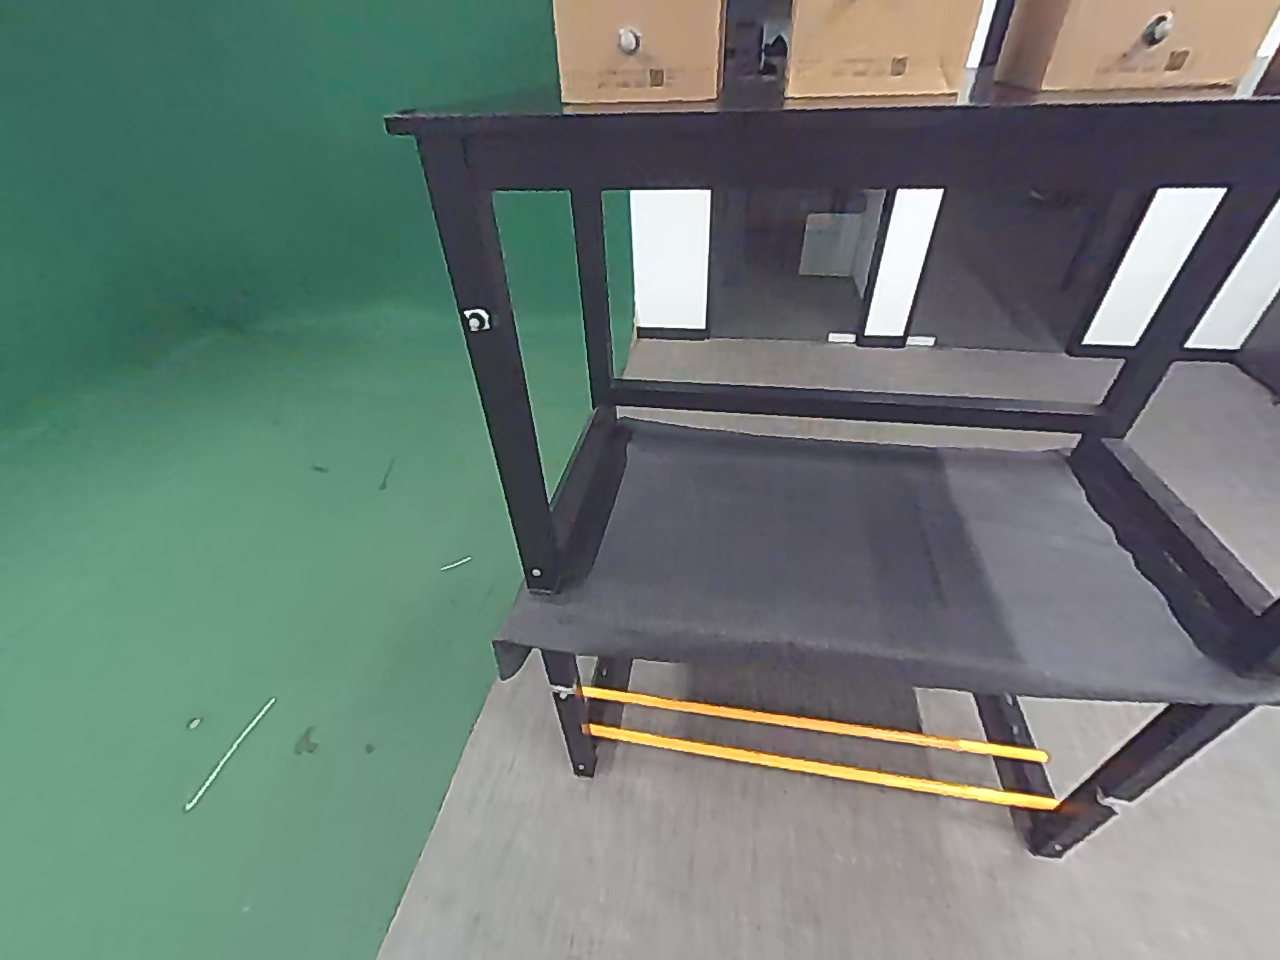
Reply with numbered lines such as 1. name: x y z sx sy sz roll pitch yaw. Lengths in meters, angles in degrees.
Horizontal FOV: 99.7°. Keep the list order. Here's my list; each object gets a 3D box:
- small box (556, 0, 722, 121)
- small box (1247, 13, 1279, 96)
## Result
1. small box: 0.005 -0.510 0.602 0.168 0.176 0.179 4 39 8
2. small box: 0.712 -0.438 0.468 0.168 0.176 0.179 12 40 18
